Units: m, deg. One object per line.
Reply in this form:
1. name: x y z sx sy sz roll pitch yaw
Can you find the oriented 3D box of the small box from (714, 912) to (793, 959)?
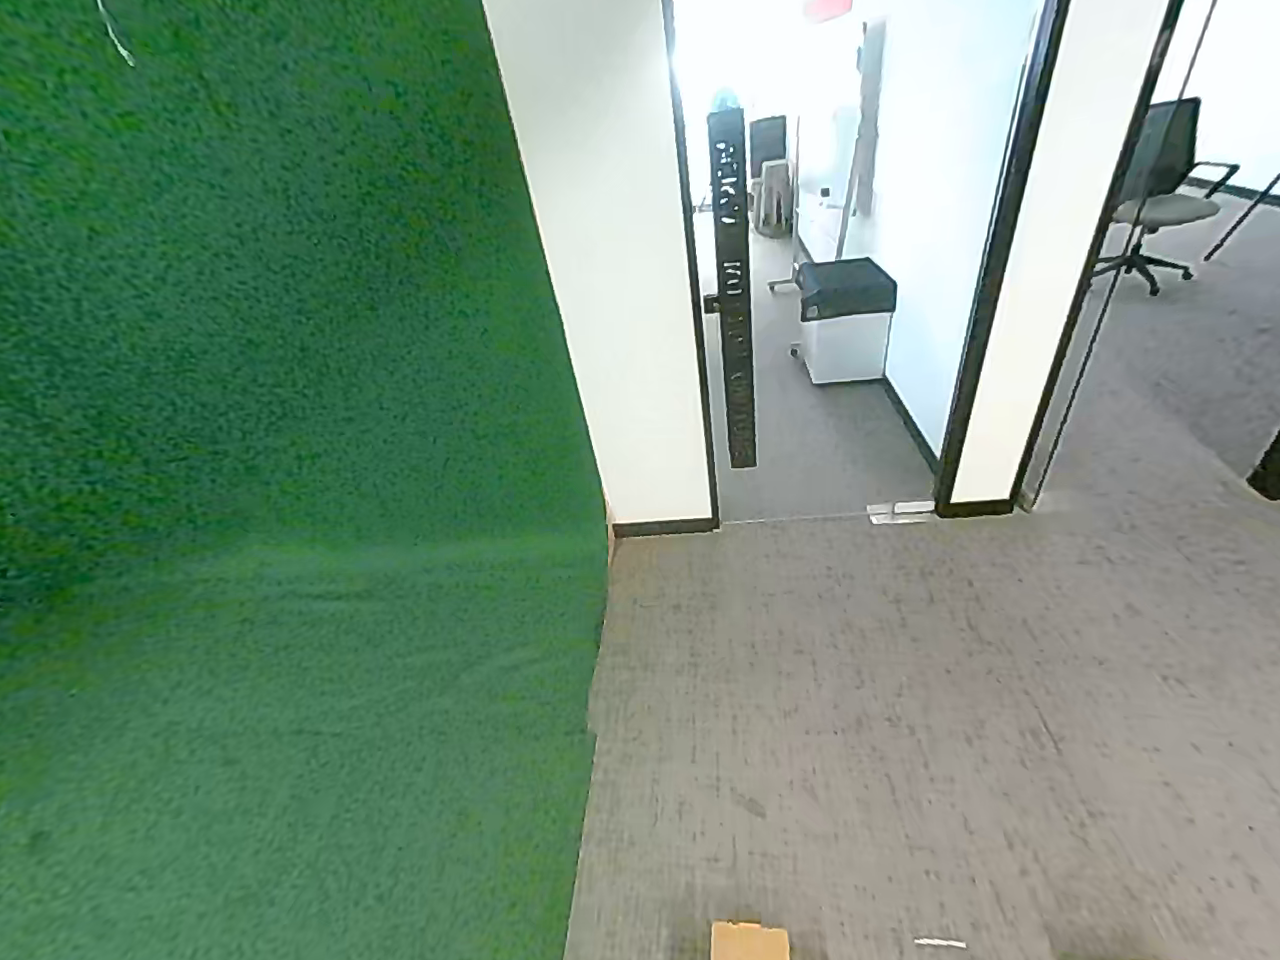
1. small box: 0.244 1.068 1.157 0.168 0.176 0.179 -3 38 12
